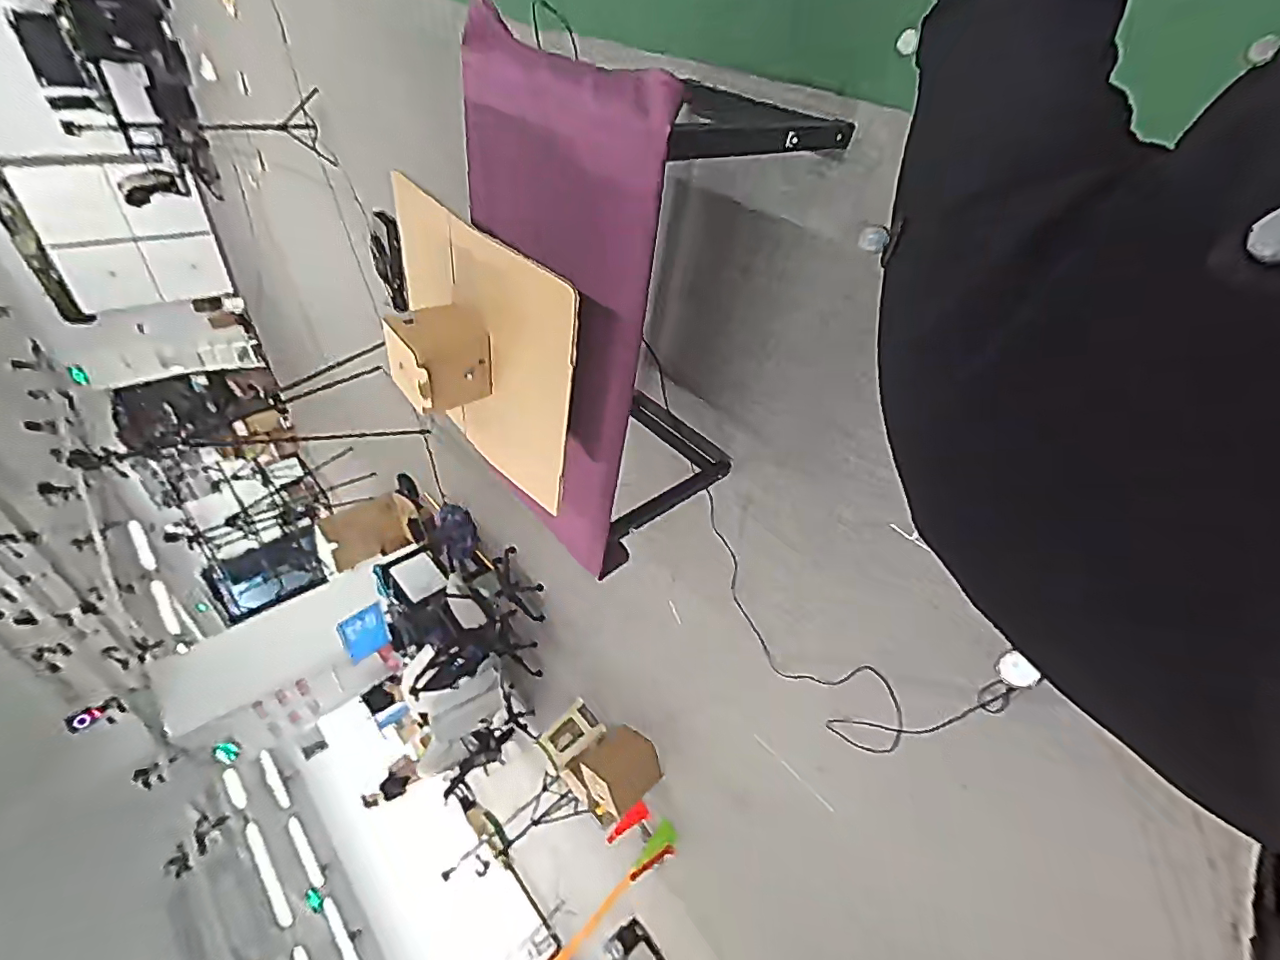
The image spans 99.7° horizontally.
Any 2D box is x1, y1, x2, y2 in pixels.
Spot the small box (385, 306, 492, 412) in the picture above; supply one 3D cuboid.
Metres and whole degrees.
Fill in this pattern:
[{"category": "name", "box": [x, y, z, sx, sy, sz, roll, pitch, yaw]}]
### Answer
[{"category": "small box", "box": [-0.461, -0.288, 1.252, 0.179, 0.176, 0.168, 42, 140, 28]}]
